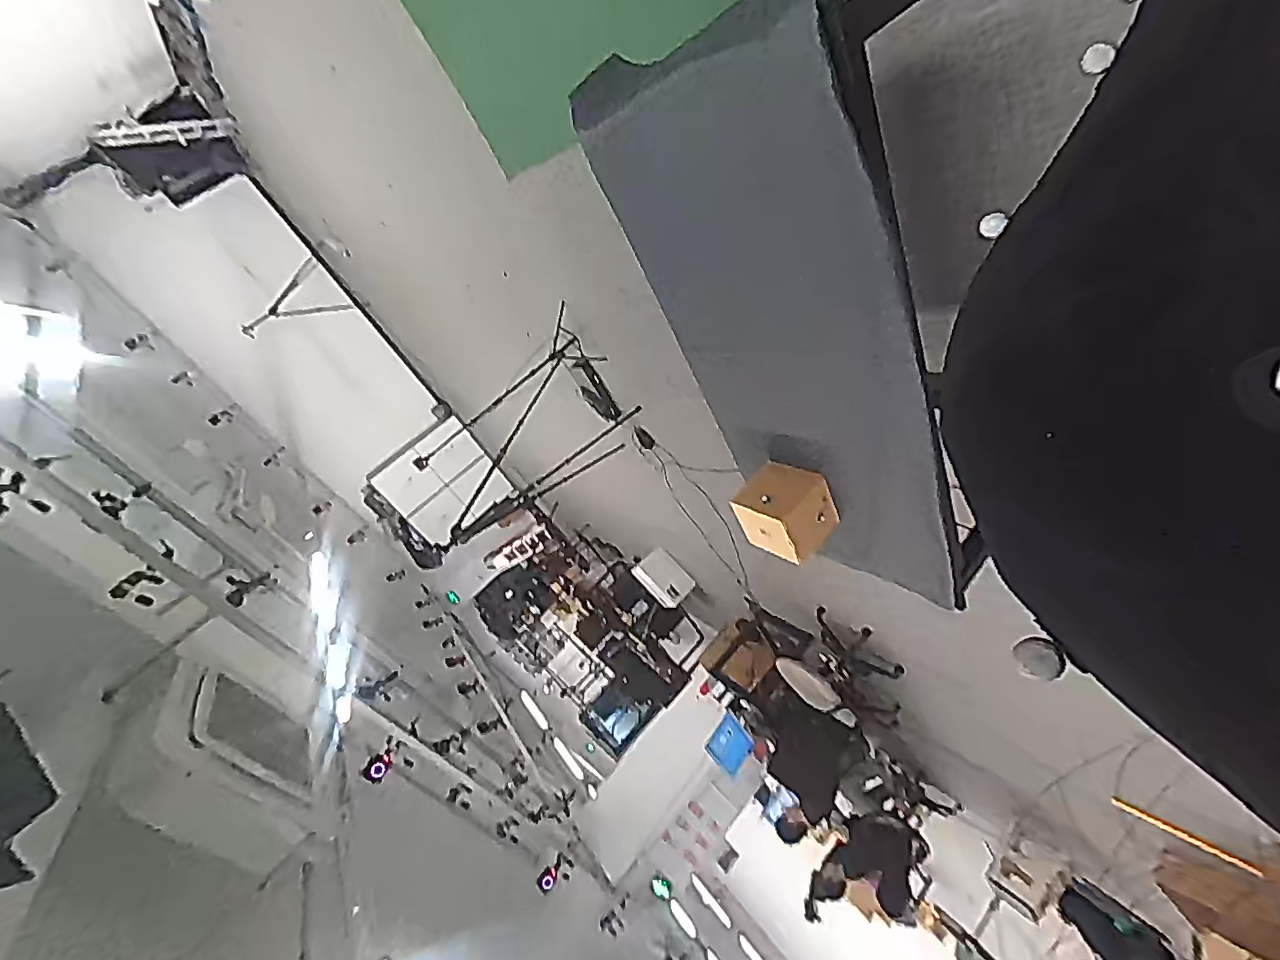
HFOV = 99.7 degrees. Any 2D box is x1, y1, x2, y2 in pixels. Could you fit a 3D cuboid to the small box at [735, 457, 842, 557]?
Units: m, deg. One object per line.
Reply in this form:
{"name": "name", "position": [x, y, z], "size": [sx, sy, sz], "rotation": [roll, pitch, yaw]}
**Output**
{"name": "small box", "position": [0.382, 0.061, 1.383], "size": [0.179, 0.176, 0.168], "rotation": [22, 151, 51]}
